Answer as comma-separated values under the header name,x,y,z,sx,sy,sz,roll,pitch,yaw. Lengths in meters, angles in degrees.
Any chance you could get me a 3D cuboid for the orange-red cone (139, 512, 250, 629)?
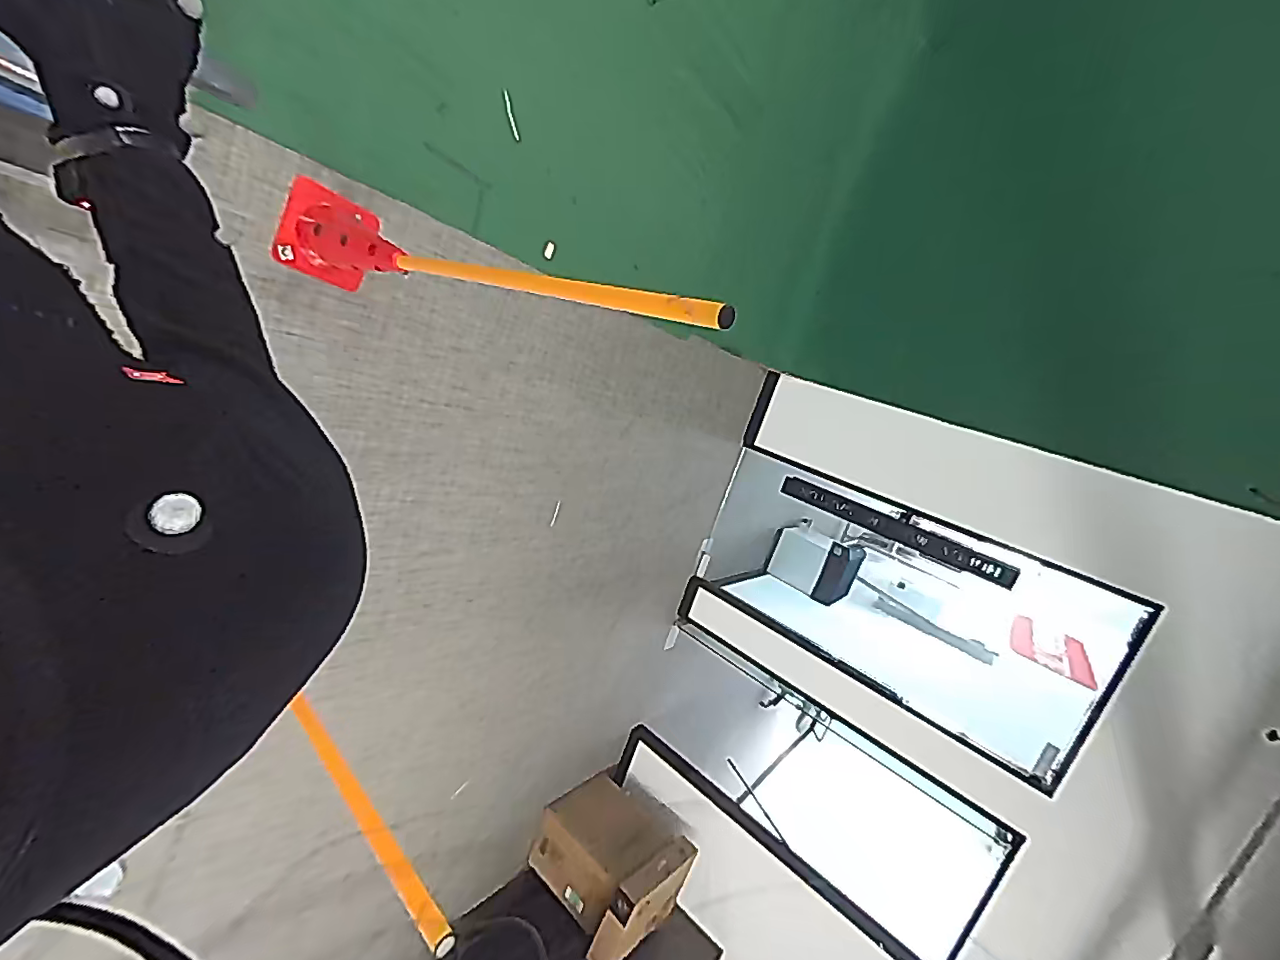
name,x,y,z,sx,sy,sz,roll,pitch,yaw
orange-red cone,-0.975,0.234,1.240,0.199,0.360,0.198,5,108,-53
